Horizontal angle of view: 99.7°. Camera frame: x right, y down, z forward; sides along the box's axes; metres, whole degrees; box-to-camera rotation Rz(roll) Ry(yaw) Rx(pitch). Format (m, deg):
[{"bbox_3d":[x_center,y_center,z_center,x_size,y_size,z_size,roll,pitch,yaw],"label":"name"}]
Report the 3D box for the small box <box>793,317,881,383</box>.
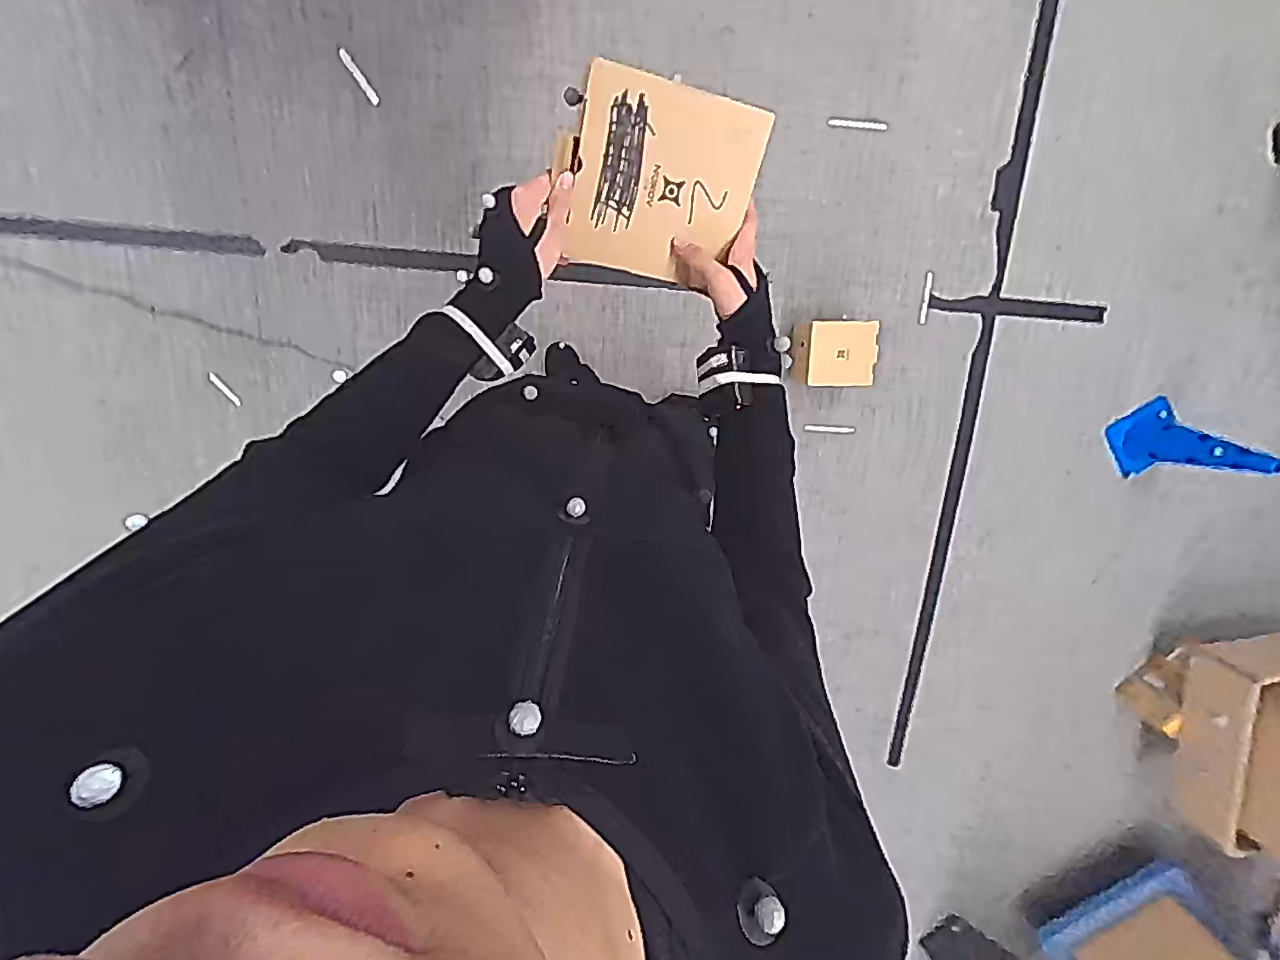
[{"bbox_3d":[0.526,-0.355,1.472,0.179,0.176,0.168,-1,106,-2],"label":"small box"}]
